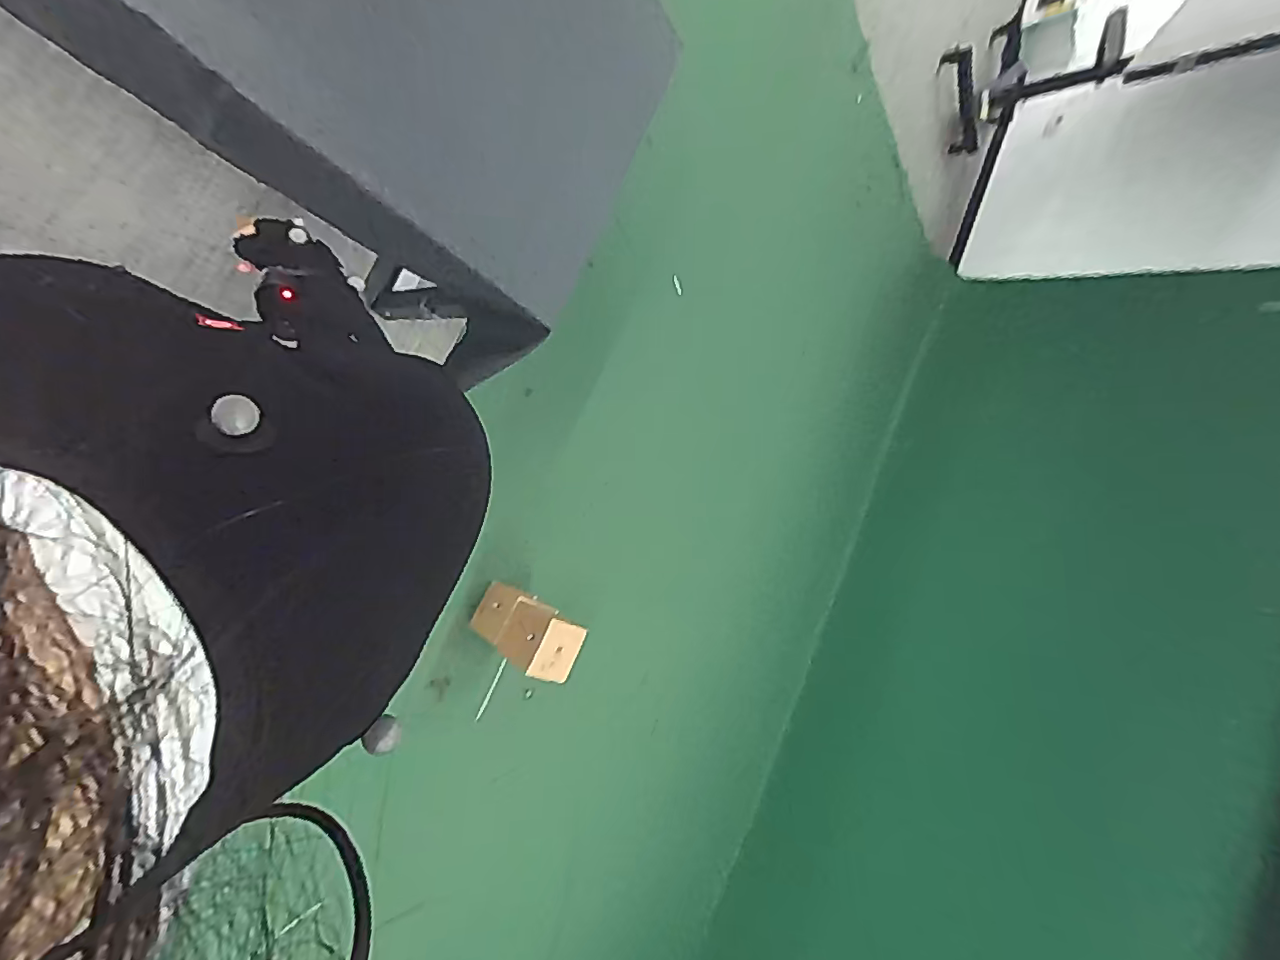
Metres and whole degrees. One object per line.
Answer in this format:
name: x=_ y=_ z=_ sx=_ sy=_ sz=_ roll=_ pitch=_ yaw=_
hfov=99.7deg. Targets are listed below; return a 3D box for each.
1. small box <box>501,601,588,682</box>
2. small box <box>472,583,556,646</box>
small box: x=-0.299 y=0.496 z=1.671 sx=0.168 sy=0.176 sz=0.179 roll=36 pitch=76 yaw=-45
small box: x=-0.417 y=0.454 z=1.778 sx=0.179 sy=0.176 sz=0.168 roll=38 pitch=74 yaw=-45
